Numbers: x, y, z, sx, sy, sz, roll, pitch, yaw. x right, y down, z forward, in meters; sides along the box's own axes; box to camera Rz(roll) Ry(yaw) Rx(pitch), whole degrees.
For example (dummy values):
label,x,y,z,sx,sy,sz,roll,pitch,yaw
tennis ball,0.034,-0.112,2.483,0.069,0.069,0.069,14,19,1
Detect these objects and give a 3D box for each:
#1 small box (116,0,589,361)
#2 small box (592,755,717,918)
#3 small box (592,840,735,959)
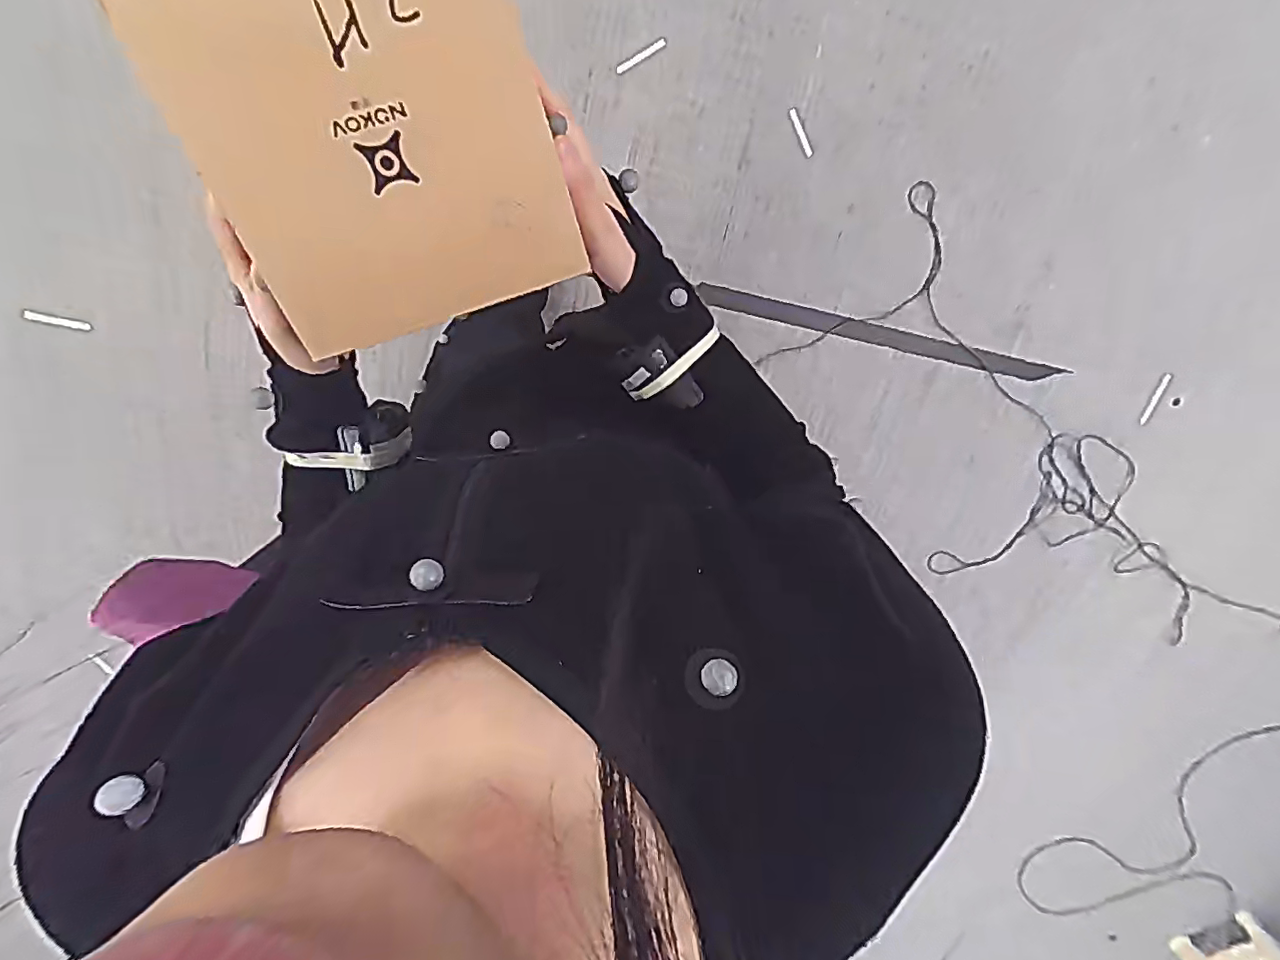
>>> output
label,x,y,z,sx,sy,sz,roll,pitch,yaw
small box,-0.144,-0.200,0.339,0.168,0.176,0.179,-20,120,-6
small box,0.016,0.590,0.898,0.168,0.176,0.179,10,110,-5
small box,0.021,0.627,0.737,0.168,0.176,0.179,5,110,-4
